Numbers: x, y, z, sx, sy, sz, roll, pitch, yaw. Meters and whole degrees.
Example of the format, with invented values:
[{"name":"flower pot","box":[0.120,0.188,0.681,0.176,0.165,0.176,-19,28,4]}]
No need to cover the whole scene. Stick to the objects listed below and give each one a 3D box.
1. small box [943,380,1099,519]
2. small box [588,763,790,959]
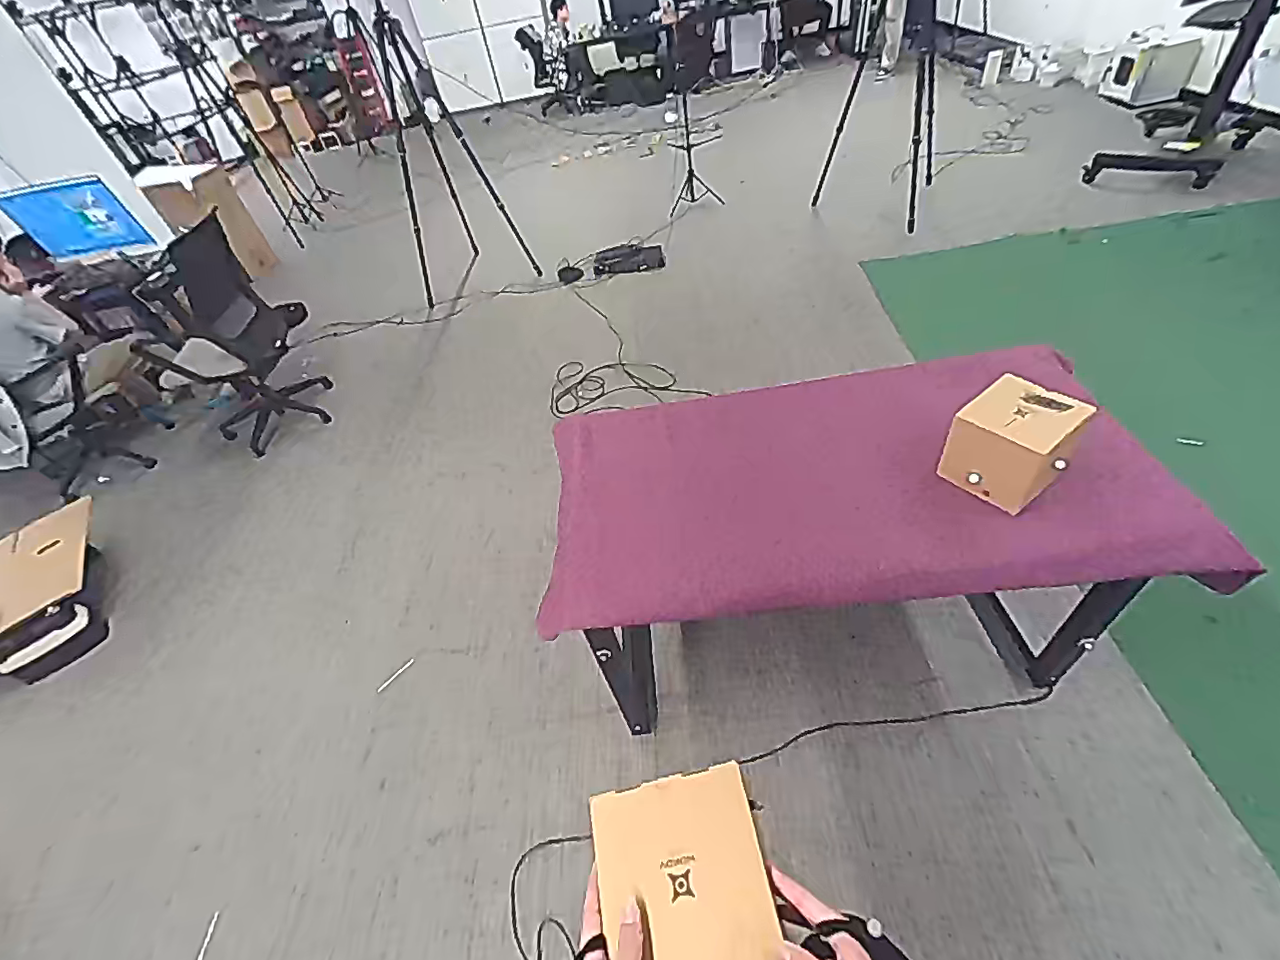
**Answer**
[{"name":"small box","box":[0.727,-0.059,1.054,0.179,0.176,0.168,-33,48,-18]},{"name":"small box","box":[0.055,0.425,0.577,0.168,0.176,0.179,-16,52,4]}]
